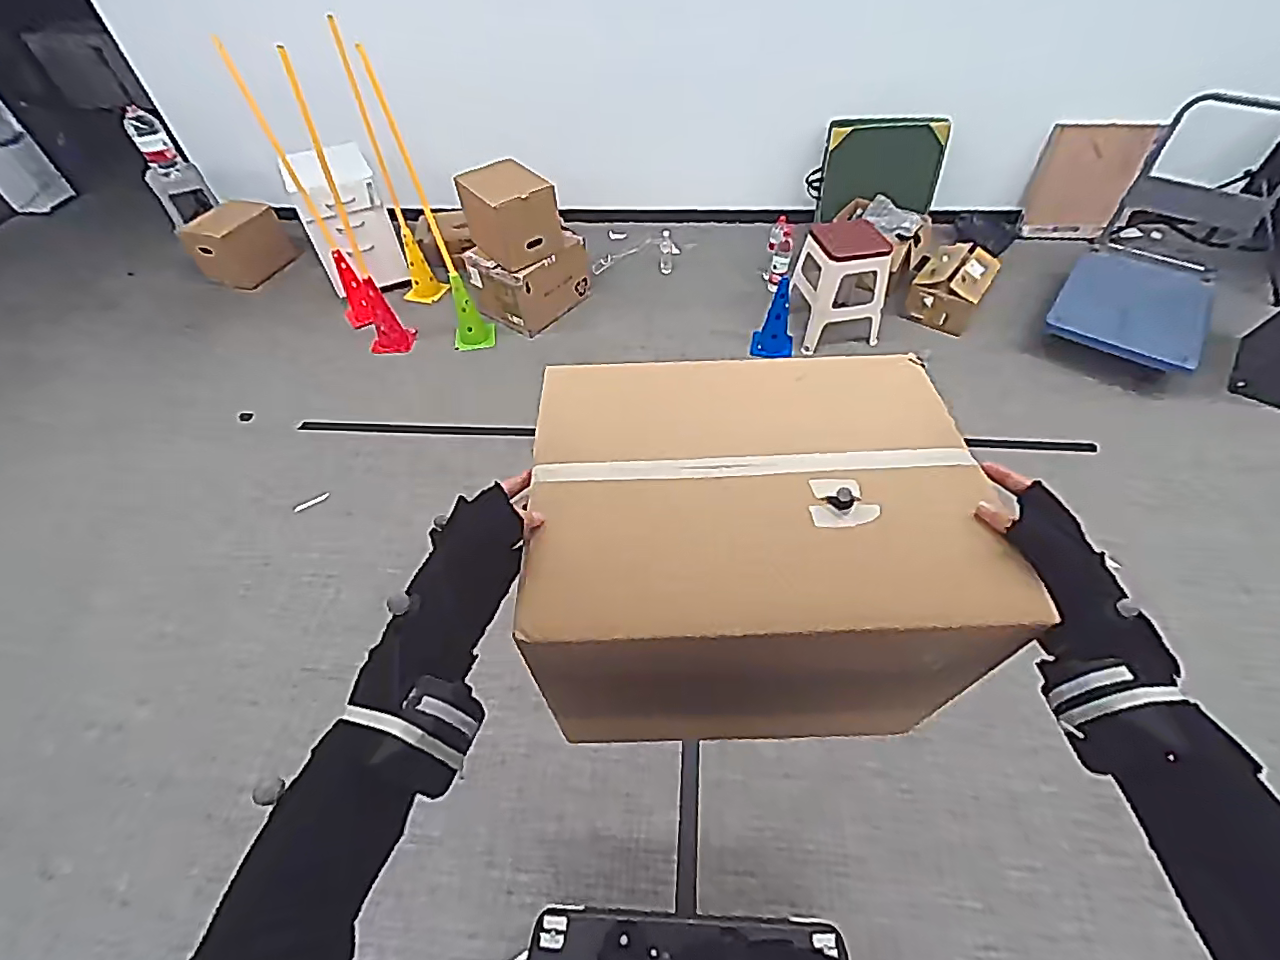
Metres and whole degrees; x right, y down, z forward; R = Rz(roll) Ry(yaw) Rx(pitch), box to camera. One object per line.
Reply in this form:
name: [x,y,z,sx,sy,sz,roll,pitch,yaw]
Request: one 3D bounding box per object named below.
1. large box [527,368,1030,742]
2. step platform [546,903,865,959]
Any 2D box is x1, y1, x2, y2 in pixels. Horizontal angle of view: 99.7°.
large box: [0.103,0.093,0.626,0.408,0.320,0.320,-2,52,-1]
step platform: [0.134,1.084,1.135,0.684,0.204,0.286,1,50,2]
